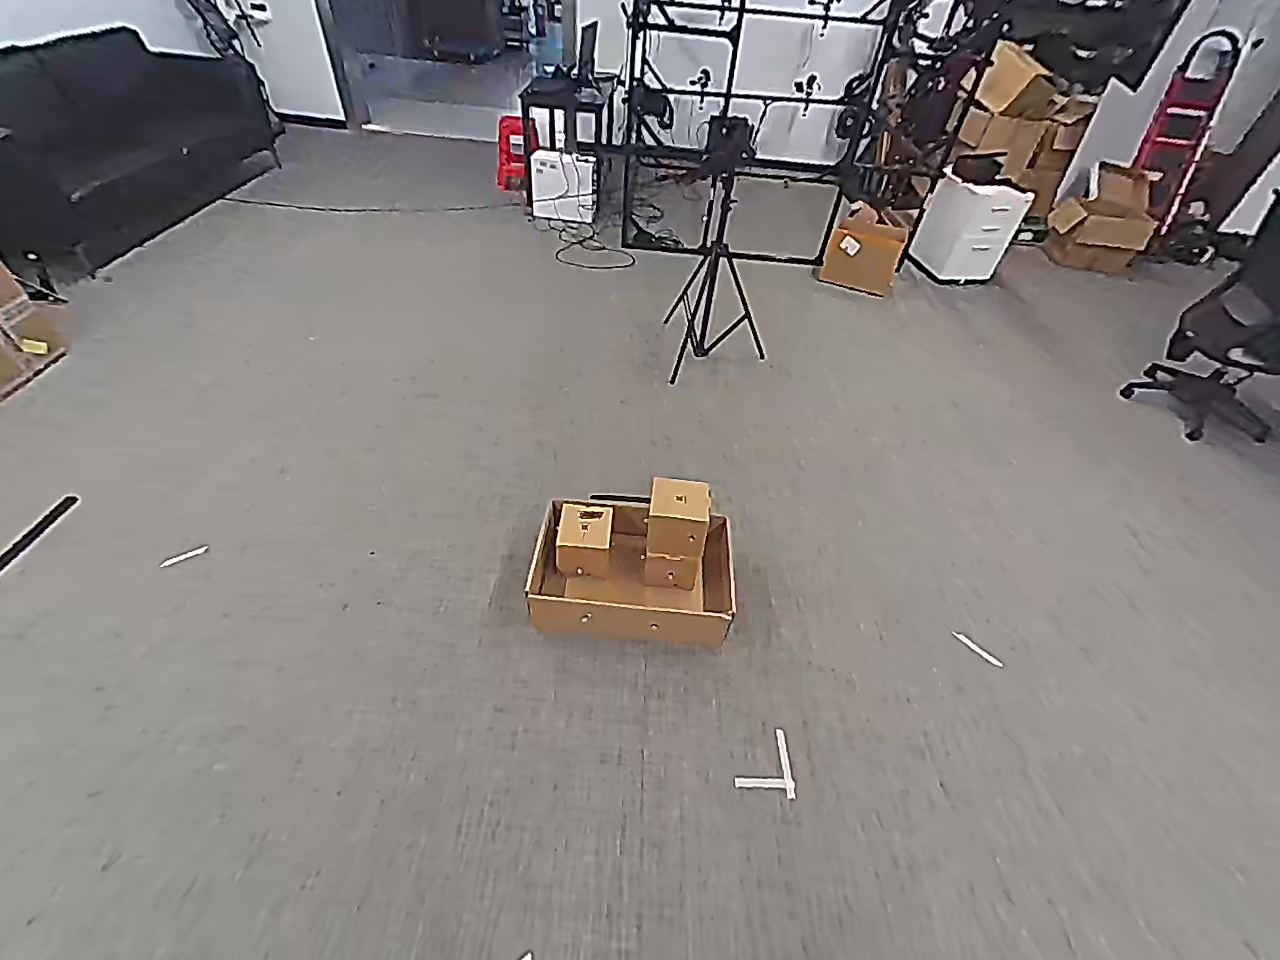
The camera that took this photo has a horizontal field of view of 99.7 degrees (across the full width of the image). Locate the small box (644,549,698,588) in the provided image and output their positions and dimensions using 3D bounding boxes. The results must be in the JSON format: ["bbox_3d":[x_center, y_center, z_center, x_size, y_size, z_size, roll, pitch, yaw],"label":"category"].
[{"bbox_3d":[0.101,0.237,1.773,0.168,0.176,0.179,5,46,0],"label":"small box"}]

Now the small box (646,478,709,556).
[{"bbox_3d":[0.115,0.118,1.663,0.179,0.176,0.168,5,43,2],"label":"small box"}]
